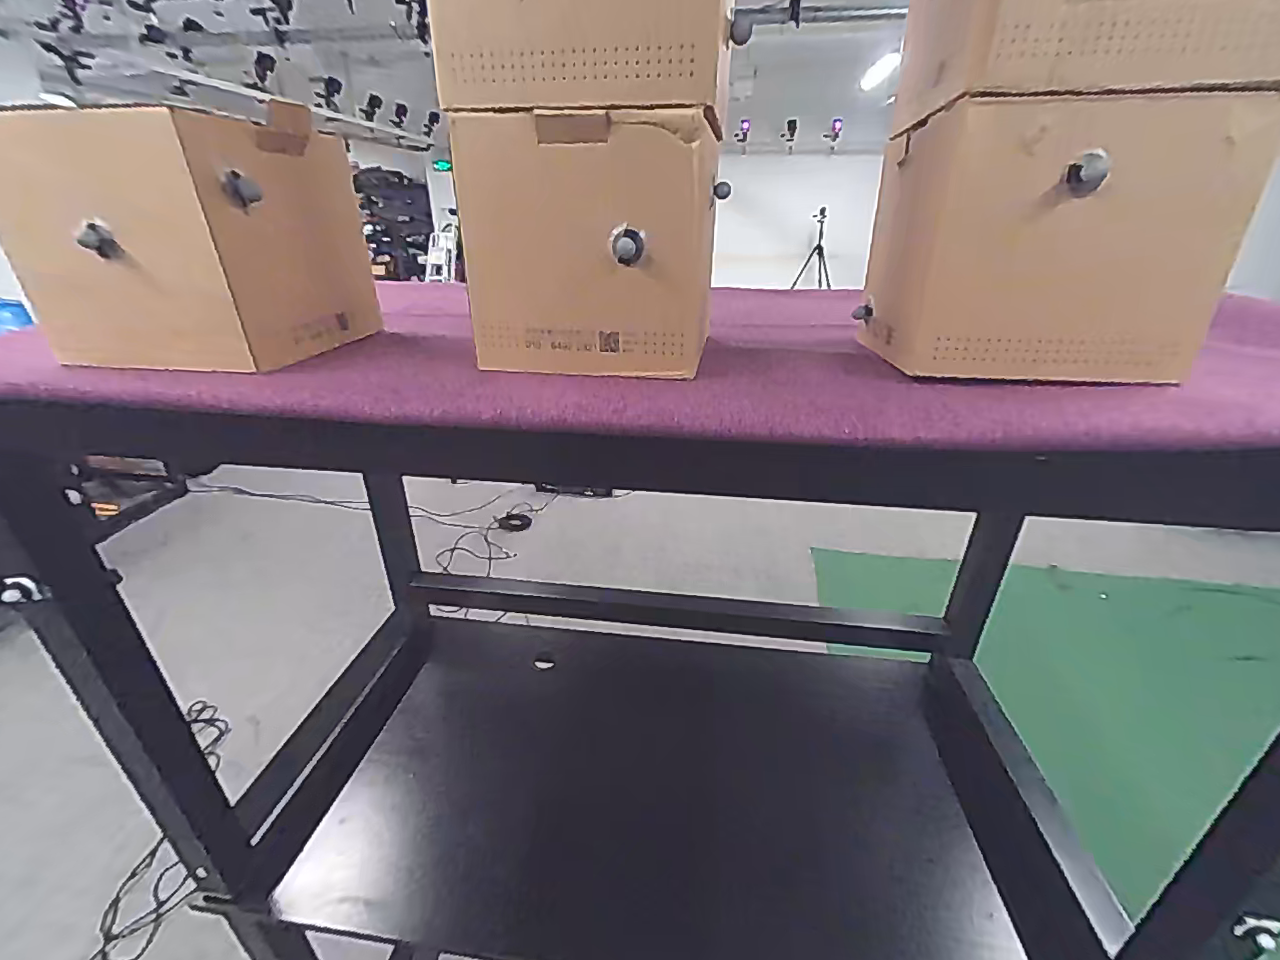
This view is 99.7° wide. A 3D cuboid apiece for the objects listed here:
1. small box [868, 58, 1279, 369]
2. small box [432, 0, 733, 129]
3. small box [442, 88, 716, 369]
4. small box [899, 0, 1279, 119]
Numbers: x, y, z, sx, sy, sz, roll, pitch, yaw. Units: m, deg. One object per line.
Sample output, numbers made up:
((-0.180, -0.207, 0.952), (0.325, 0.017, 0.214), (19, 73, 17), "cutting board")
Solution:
((0.282, -0.180, 0.401), (0.179, 0.176, 0.168), (3, 24, 6), "small box")
((-0.029, -0.339, 0.359), (0.179, 0.176, 0.168), (5, 27, 8), "small box")
((-0.030, -0.191, 0.431), (0.168, 0.176, 0.179), (5, 26, 8), "small box")
((0.280, -0.331, 0.340), (0.179, 0.176, 0.168), (3, 24, 7), "small box")
